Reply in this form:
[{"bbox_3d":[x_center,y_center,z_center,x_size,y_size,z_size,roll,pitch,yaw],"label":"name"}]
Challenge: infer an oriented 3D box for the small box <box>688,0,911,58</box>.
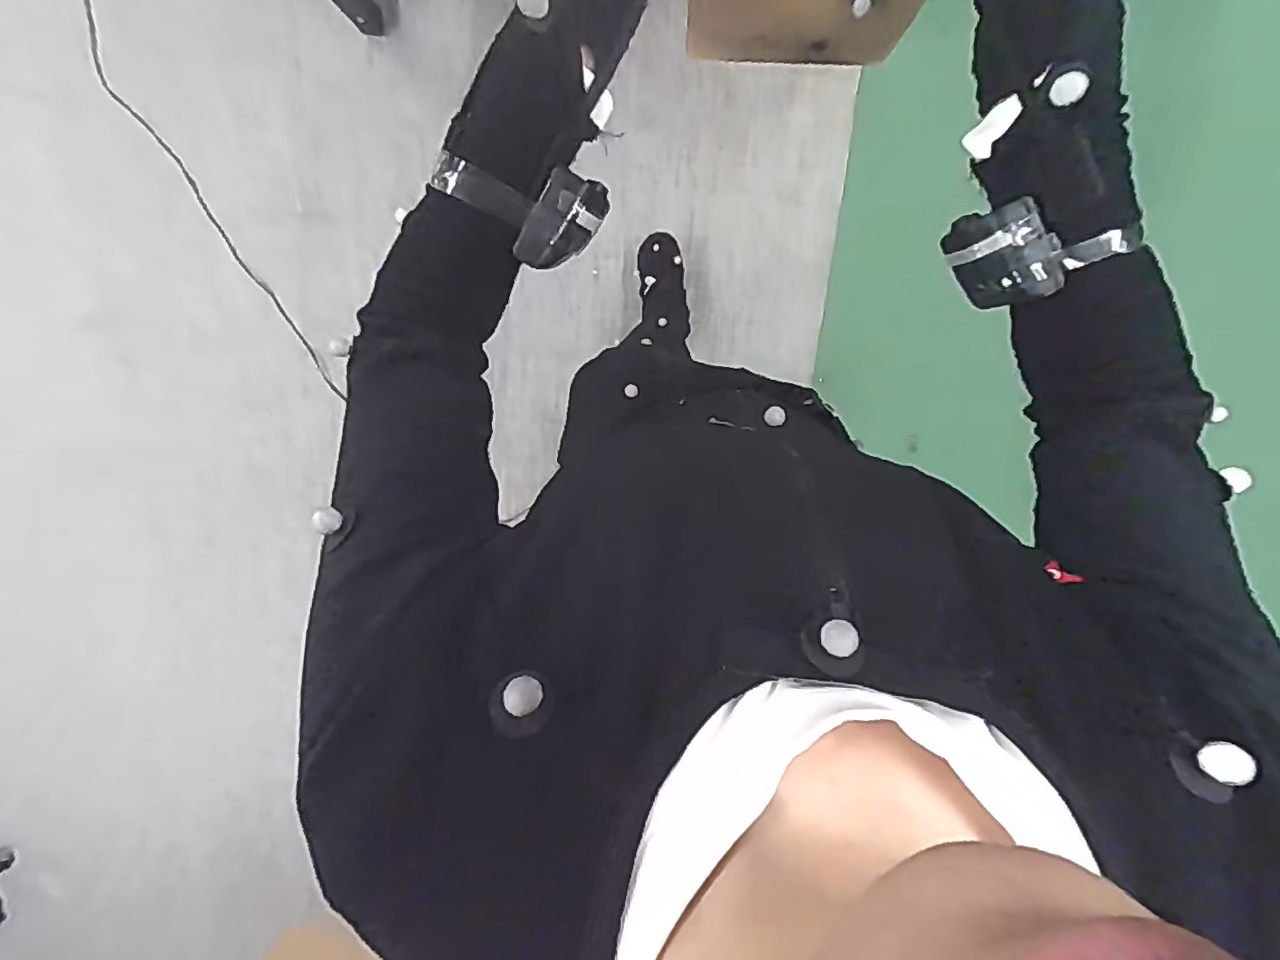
[{"bbox_3d":[0.122,-0.425,0.362,0.168,0.176,0.179,4,99,2],"label":"small box"}]
